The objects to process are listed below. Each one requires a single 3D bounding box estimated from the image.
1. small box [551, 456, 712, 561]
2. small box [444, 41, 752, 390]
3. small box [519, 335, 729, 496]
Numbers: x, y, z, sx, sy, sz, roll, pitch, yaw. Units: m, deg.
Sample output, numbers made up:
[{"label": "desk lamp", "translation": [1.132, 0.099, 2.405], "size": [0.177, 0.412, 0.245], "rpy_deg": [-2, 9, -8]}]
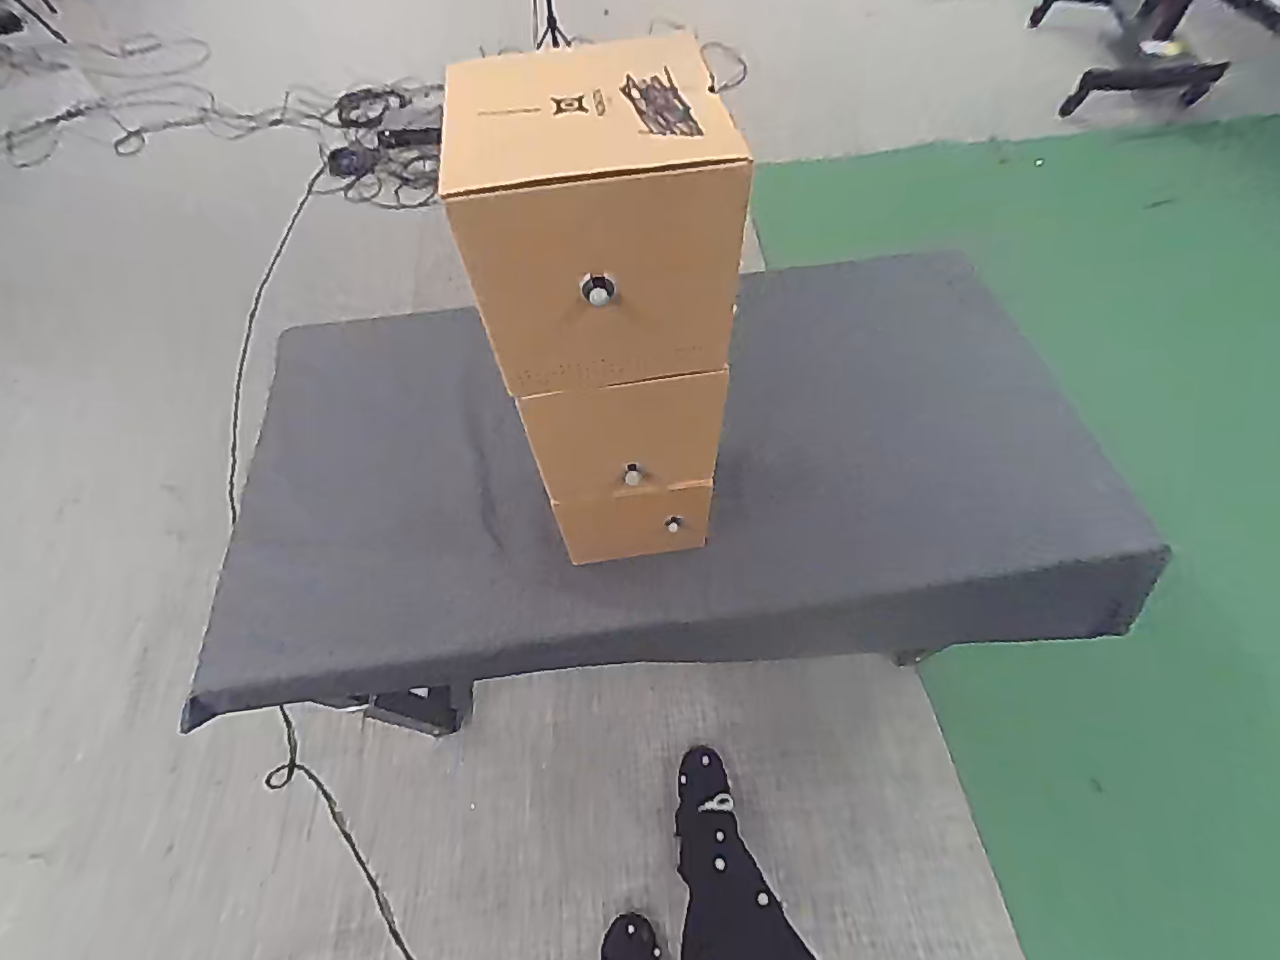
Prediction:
[{"label": "small box", "translation": [-0.016, -0.012, 0.686], "size": [0.179, 0.176, 0.168], "rpy_deg": [-9, 58, -2]}, {"label": "small box", "translation": [-0.031, -0.189, 0.409], "size": [0.179, 0.176, 0.168], "rpy_deg": [-9, 59, -2]}, {"label": "small box", "translation": [-0.023, -0.102, 0.549], "size": [0.179, 0.176, 0.168], "rpy_deg": [-8, 58, -4]}]
